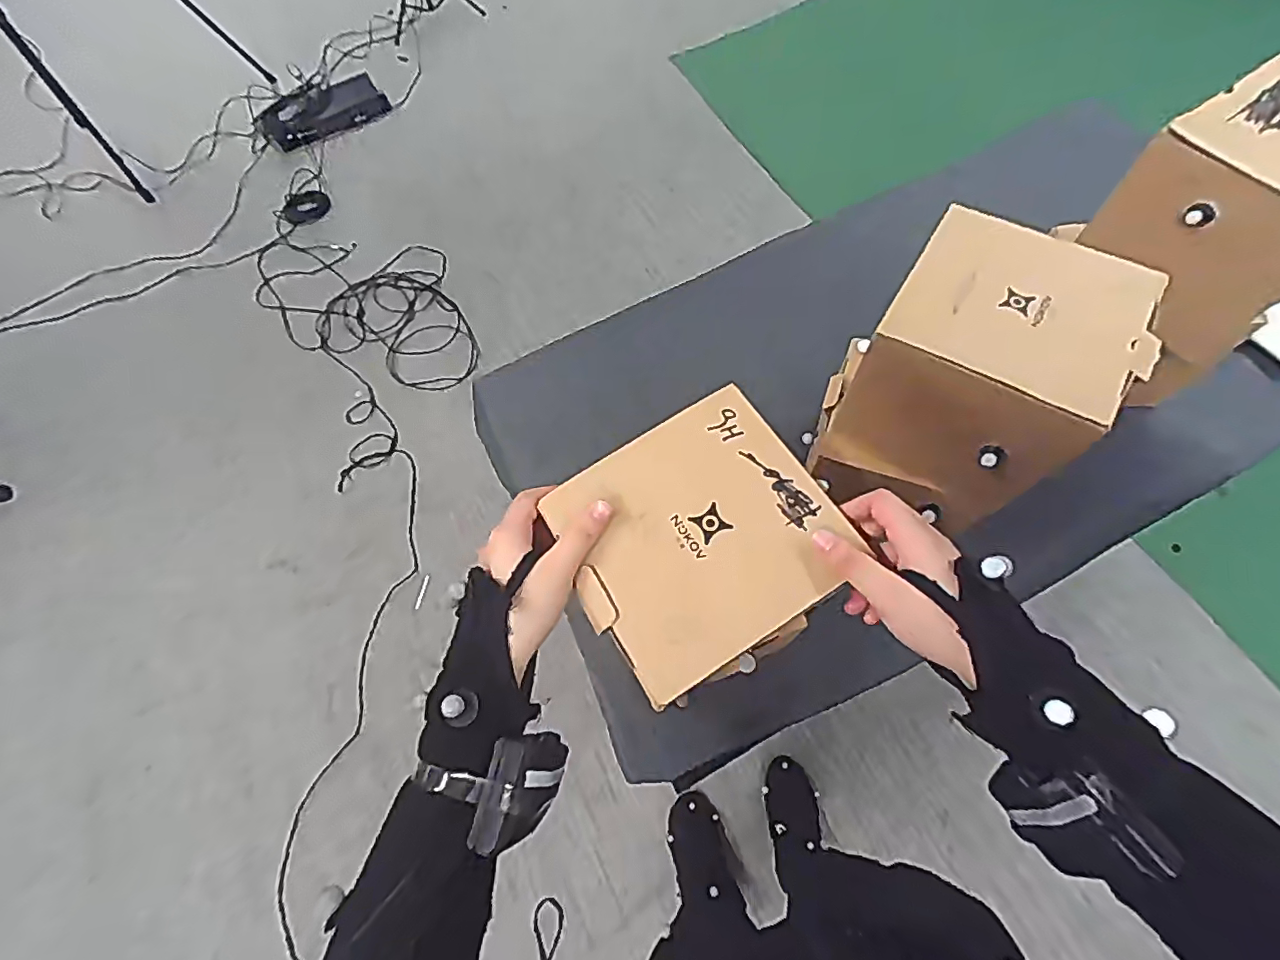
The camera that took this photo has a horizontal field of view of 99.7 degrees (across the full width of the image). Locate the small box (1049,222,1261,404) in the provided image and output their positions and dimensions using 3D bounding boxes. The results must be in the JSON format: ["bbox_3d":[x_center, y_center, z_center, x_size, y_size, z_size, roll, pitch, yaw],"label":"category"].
[{"bbox_3d":[0.594,-0.206,0.694,0.179,0.176,0.168,-2,66,6],"label":"small box"}]

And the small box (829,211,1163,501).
[{"bbox_3d":[0.304,-0.101,0.499,0.179,0.176,0.168,29,71,17],"label":"small box"}]

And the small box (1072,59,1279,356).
[{"bbox_3d":[0.588,-0.260,0.538,0.168,0.176,0.179,-33,67,-8],"label":"small box"}]

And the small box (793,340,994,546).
[{"bbox_3d":[0.300,-0.034,0.648,0.179,0.176,0.168,18,69,13],"label":"small box"}]
